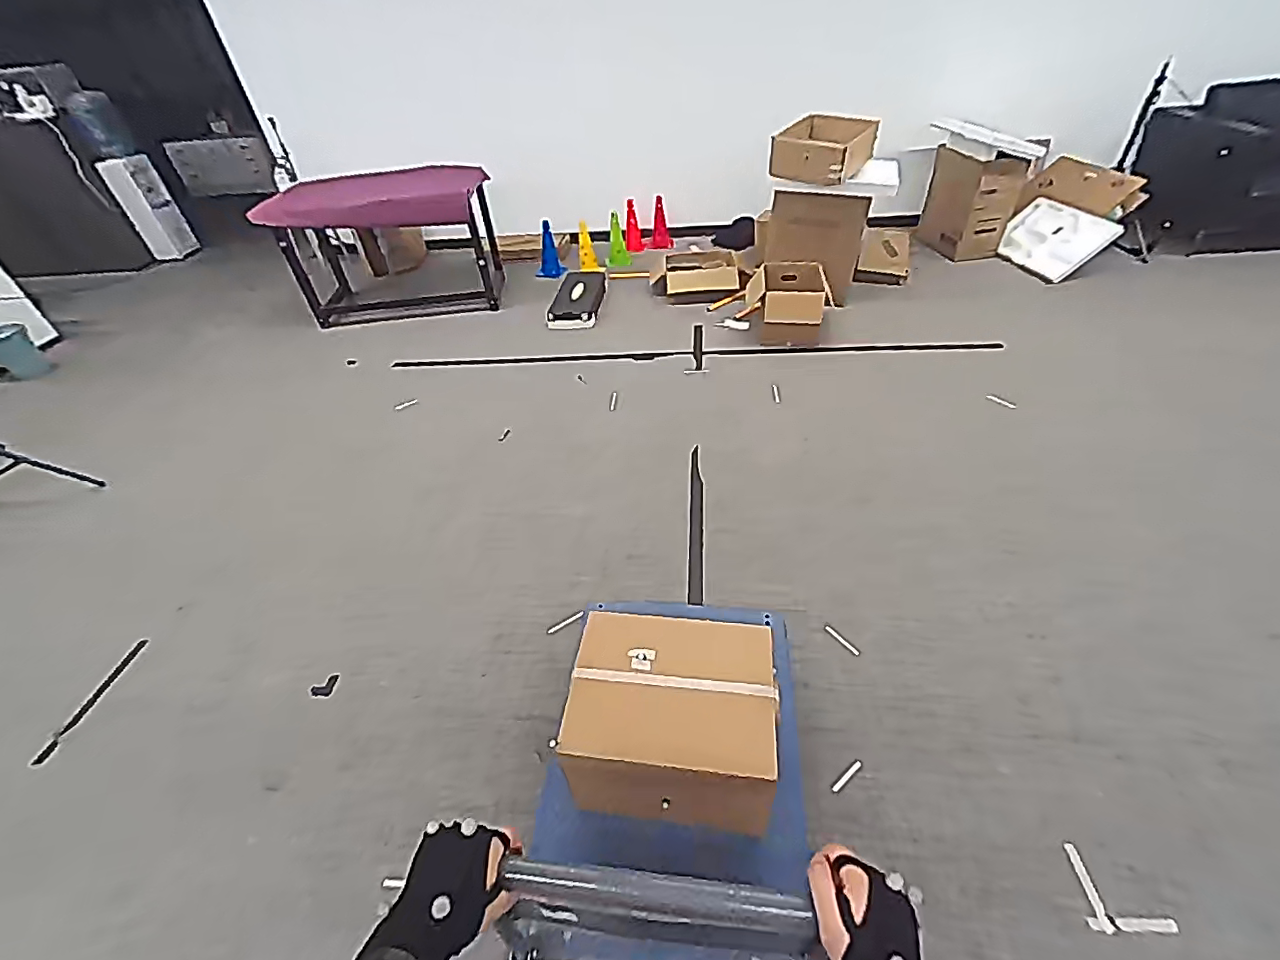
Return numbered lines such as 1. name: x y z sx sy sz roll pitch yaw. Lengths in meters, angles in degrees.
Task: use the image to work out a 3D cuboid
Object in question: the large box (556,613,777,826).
1. large box: 0.073 0.512 1.167 0.408 0.320 0.320 1 40 9
